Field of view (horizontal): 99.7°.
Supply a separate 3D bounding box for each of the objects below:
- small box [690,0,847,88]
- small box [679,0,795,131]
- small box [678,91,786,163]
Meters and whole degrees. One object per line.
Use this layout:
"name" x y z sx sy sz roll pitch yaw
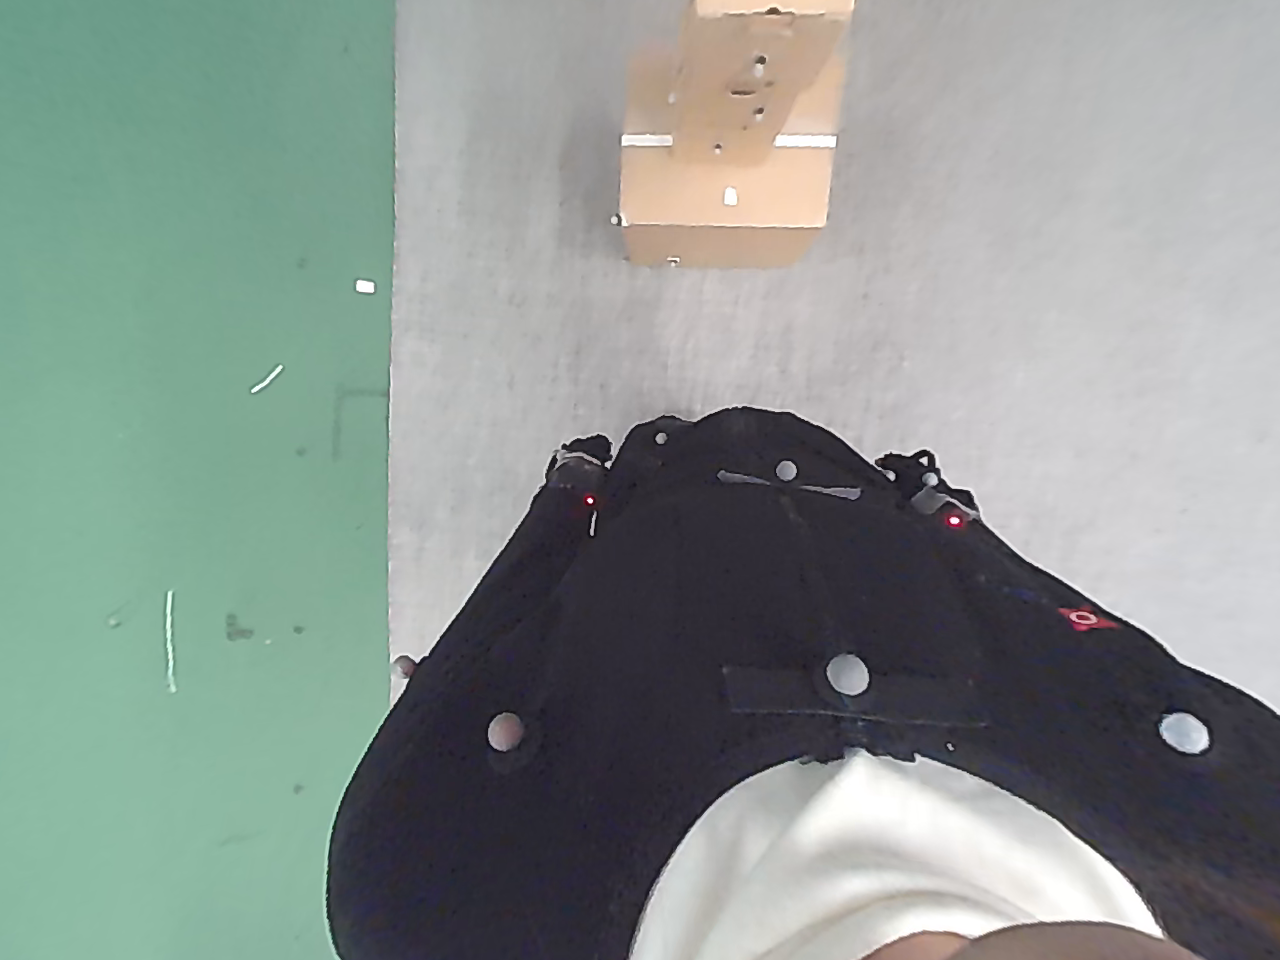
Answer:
"small box" 0.146 -0.589 0.630 0.168 0.176 0.179 4 104 3
"small box" 0.145 -0.635 0.787 0.168 0.176 0.179 3 103 3
"small box" 0.157 -0.672 0.944 0.179 0.176 0.168 2 104 4
